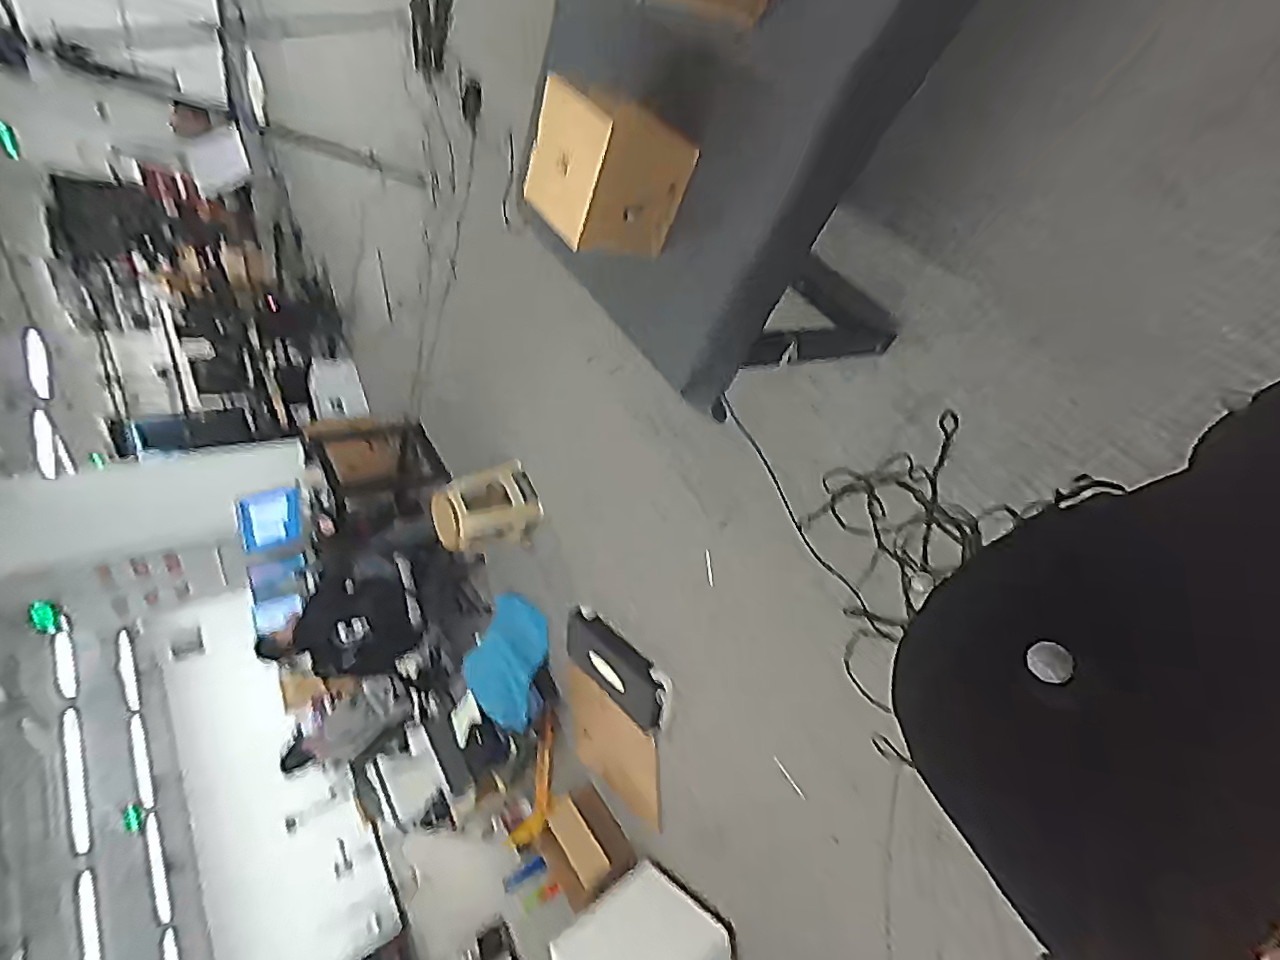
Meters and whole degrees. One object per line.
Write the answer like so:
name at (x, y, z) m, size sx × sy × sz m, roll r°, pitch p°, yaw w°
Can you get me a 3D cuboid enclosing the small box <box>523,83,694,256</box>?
small box at (-0.049, -0.456, 0.816) m, size 0.179 × 0.176 × 0.168 m, roll 52°, pitch 135°, yaw 28°
